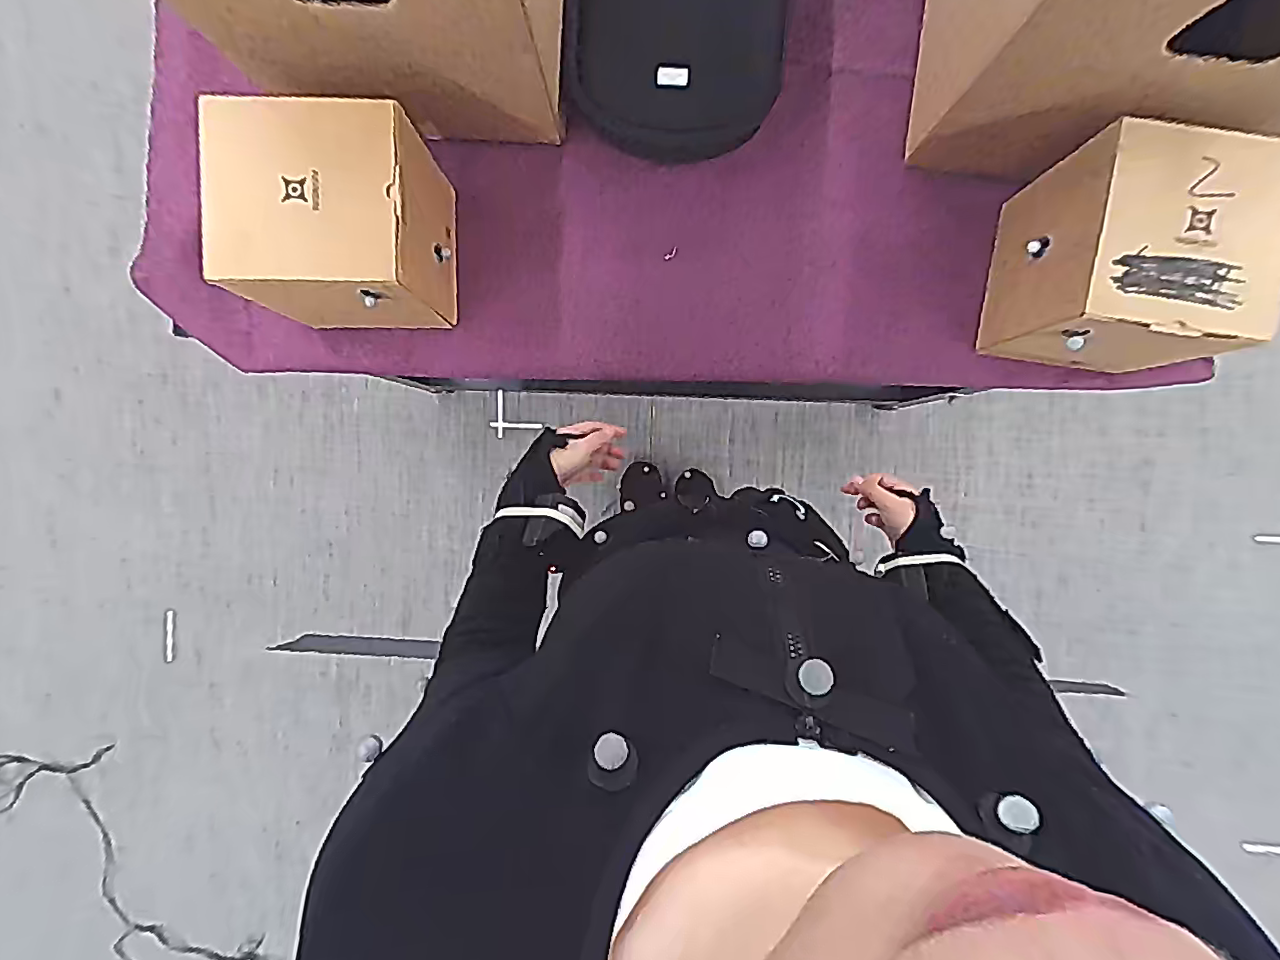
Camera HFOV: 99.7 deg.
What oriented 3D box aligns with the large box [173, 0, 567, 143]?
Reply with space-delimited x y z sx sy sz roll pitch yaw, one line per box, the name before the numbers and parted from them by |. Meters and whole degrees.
large box | -0.237 -0.597 0.491 0.320 0.320 0.408 2 95 2
